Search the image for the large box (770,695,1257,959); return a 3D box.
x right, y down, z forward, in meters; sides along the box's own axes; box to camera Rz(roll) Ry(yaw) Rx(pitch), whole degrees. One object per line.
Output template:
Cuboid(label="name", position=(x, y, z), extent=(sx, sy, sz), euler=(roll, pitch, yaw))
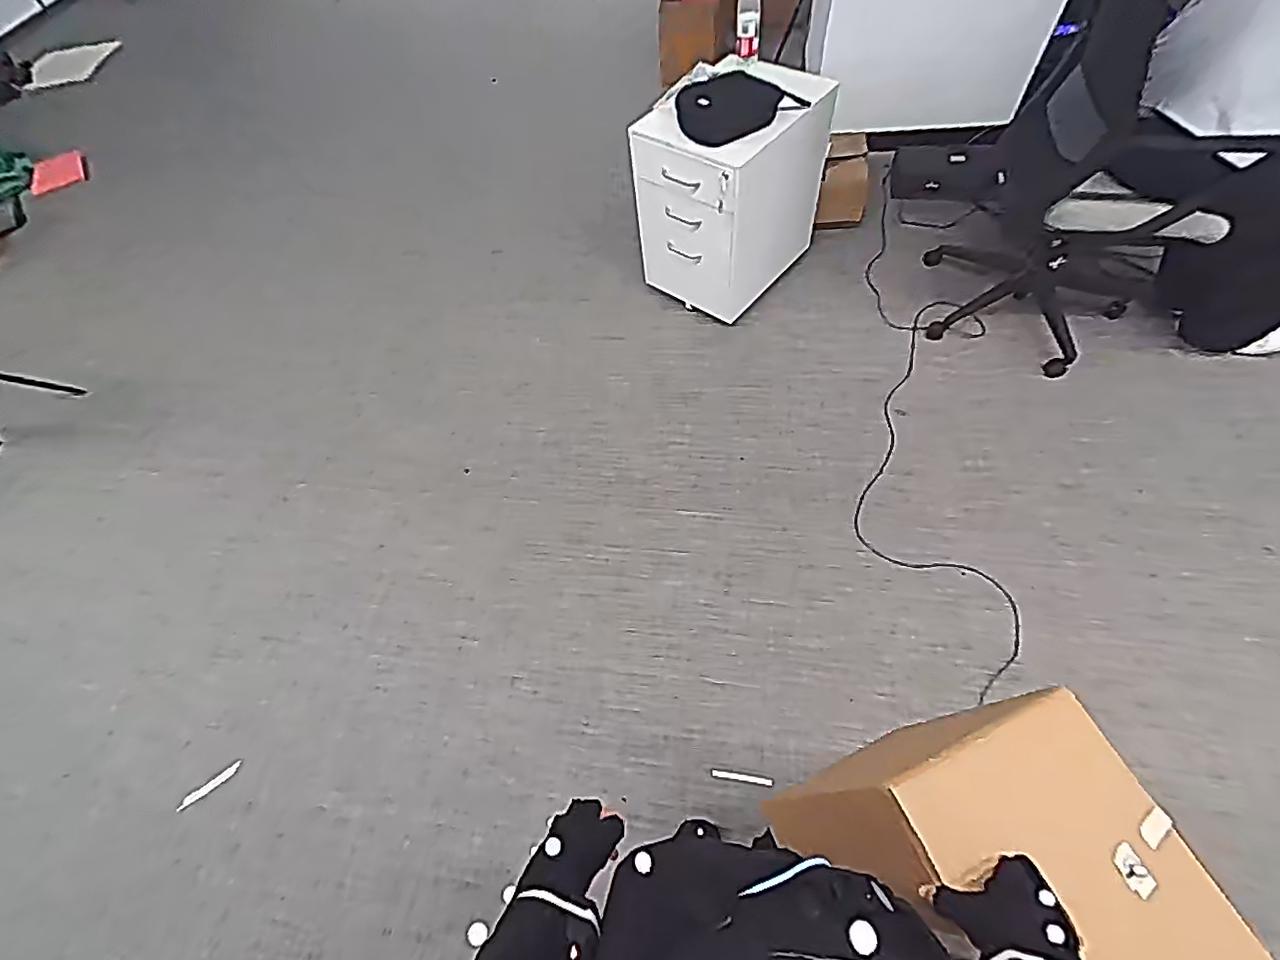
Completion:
Cuboid(label="large box", position=(0.445, 0.544, 0.755), extent=(0.320, 0.408, 0.320), euler=(-15, 61, -18))
